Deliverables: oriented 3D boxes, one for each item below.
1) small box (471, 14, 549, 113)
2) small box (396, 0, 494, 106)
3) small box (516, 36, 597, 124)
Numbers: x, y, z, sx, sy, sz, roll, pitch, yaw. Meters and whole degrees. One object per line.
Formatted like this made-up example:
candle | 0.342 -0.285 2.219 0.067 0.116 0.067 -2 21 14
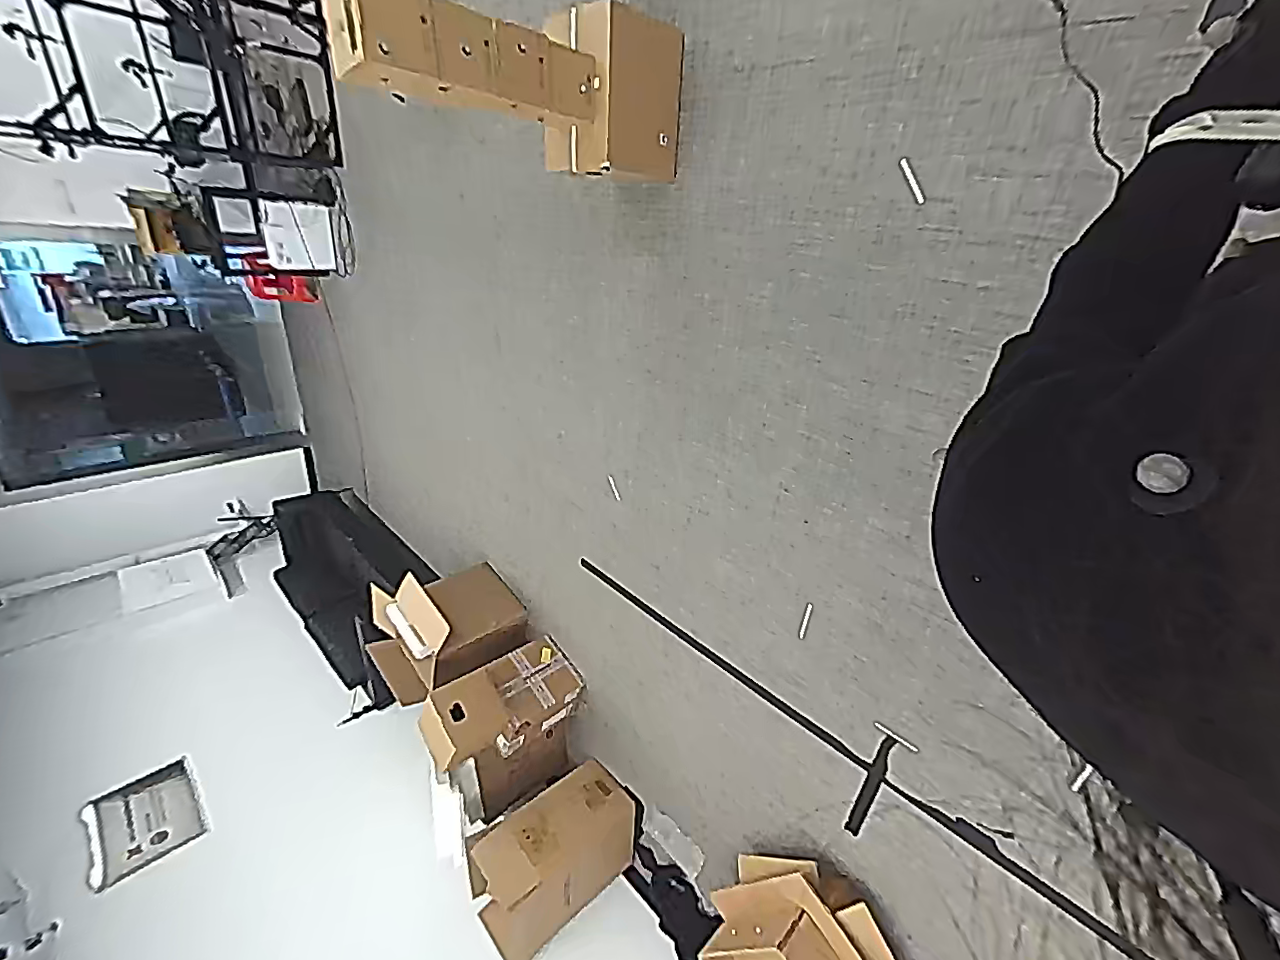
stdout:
small box | -0.353 -1.096 1.438 0.179 0.176 0.168 23 120 41
small box | -0.473 -1.051 1.333 0.179 0.176 0.168 18 116 42
small box | -0.243 -1.136 1.550 0.179 0.176 0.168 24 122 39
